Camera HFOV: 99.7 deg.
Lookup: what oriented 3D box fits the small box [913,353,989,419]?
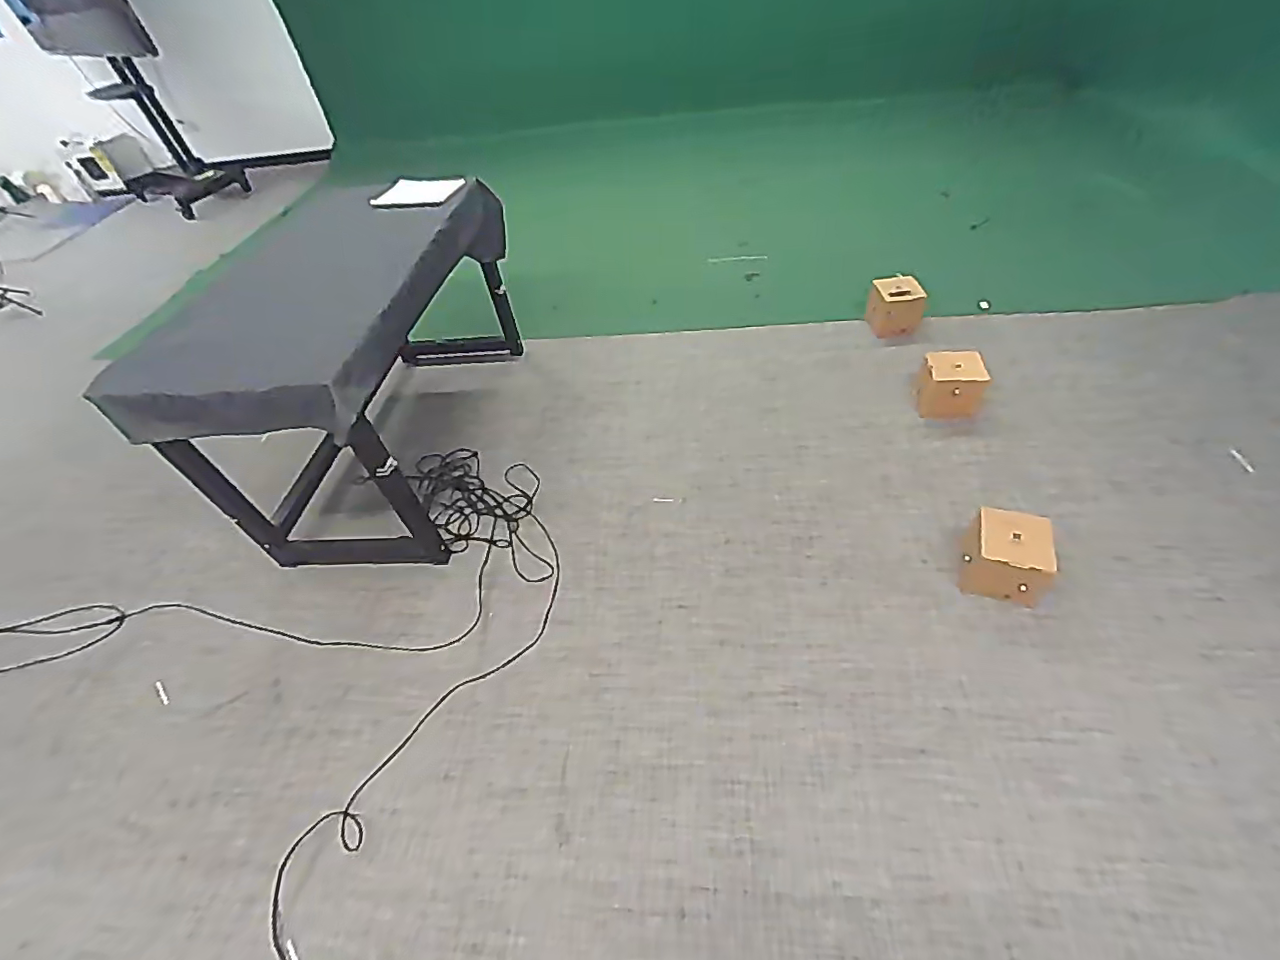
[{"bbox_3d":[1.091,-0.329,1.907,0.179,0.176,0.168,1,48,11],"label":"small box"}]

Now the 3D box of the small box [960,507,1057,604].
[{"bbox_3d":[0.969,0.204,1.438,0.168,0.176,0.179,12,50,18],"label":"small box"}]
